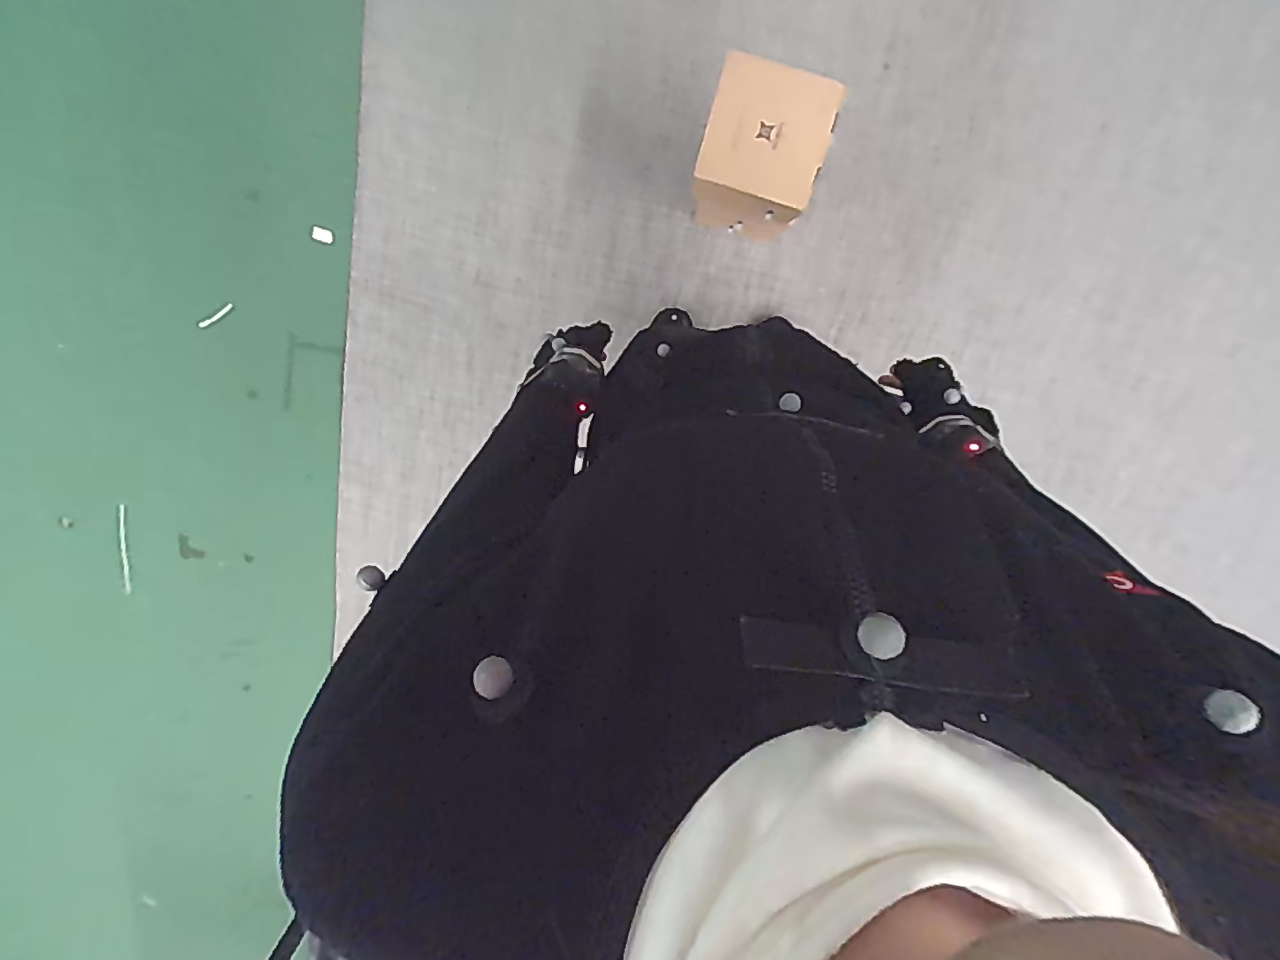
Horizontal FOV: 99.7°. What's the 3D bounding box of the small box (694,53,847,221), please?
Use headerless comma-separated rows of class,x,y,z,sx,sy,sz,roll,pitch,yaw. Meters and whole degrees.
small box,0.192,-0.520,0.849,0.179,0.176,0.168,17,109,1

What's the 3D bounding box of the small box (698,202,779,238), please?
small box,0.232,-0.629,1.152,0.179,0.176,0.168,18,108,-1

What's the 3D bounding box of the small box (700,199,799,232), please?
small box,0.219,-0.572,1.002,0.179,0.176,0.168,17,110,-1
